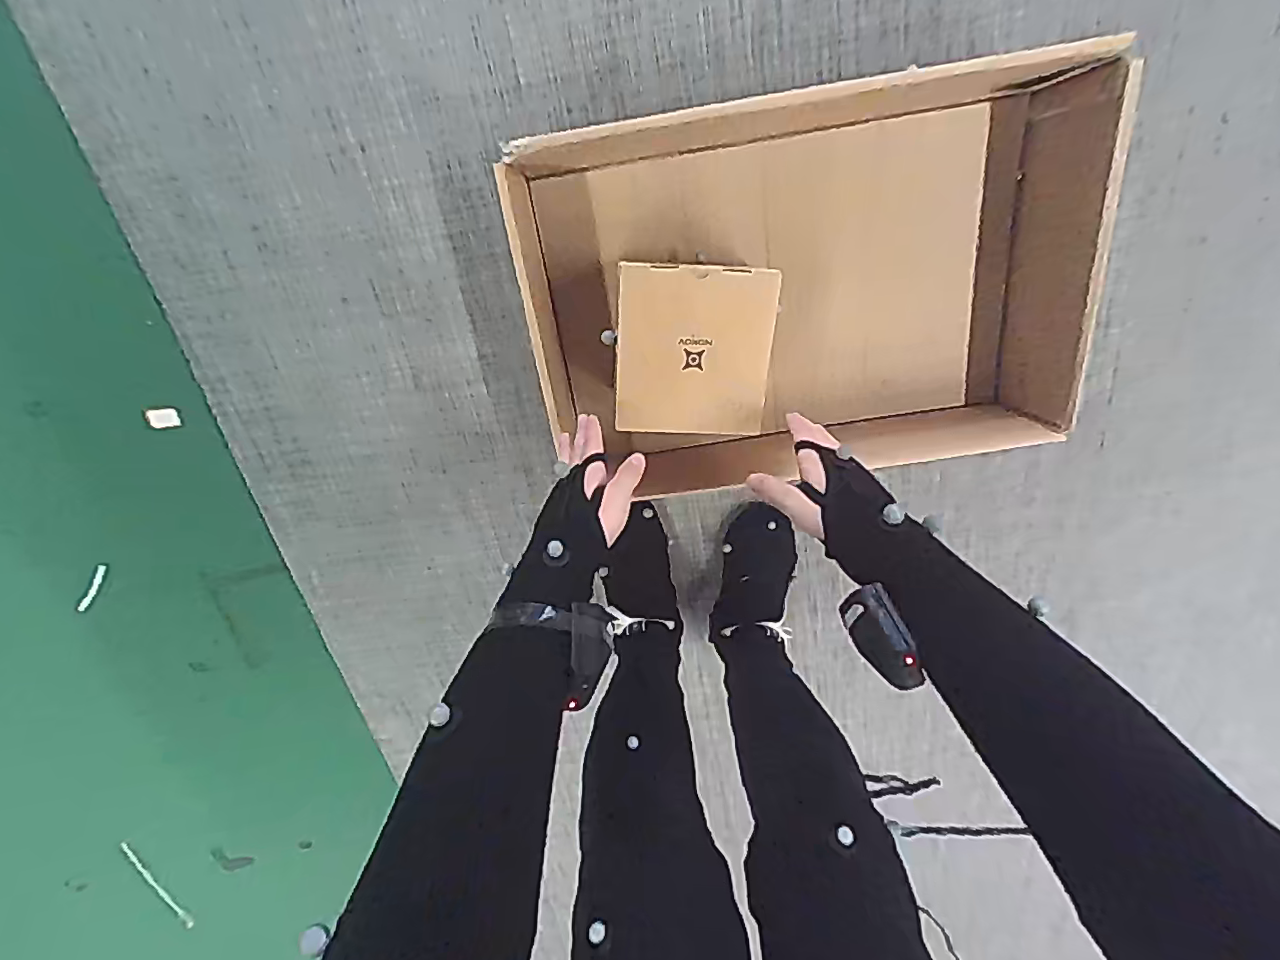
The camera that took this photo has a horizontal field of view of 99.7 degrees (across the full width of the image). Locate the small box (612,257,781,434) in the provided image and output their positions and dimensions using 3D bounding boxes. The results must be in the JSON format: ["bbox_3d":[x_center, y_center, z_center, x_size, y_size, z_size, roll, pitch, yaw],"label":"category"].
[{"bbox_3d":[0.055,-0.166,0.641,0.168,0.176,0.179,2,112,-2],"label":"small box"}]
